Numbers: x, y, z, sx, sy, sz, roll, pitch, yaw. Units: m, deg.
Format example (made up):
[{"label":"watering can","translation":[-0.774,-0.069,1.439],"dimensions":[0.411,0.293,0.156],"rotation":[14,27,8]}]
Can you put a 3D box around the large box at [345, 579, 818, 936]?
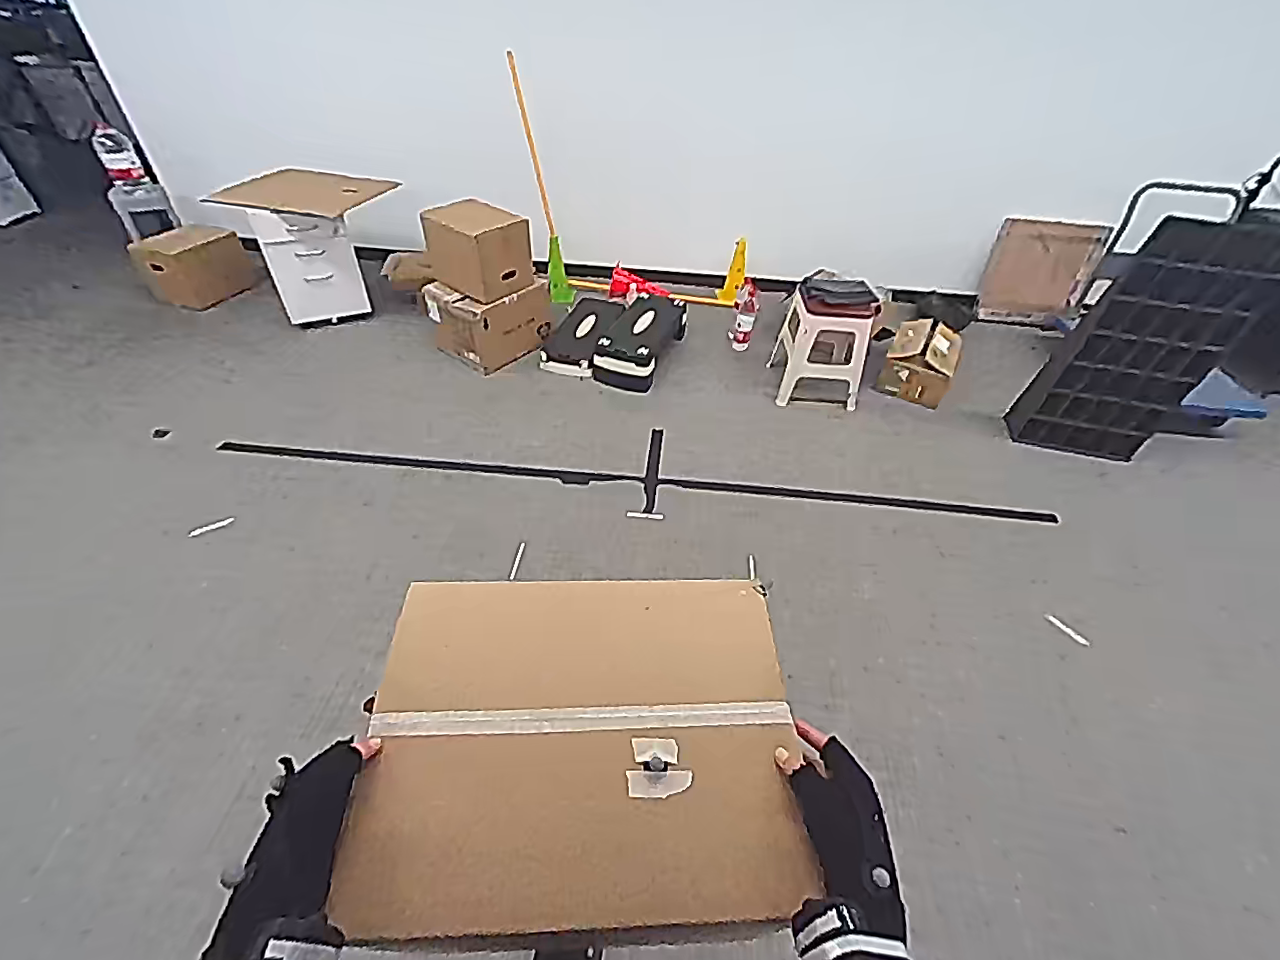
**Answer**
[{"label":"large box","translation":[-0.060,0.334,0.657],"dimensions":[0.408,0.320,0.320],"rotation":[1,48,-4]}]
